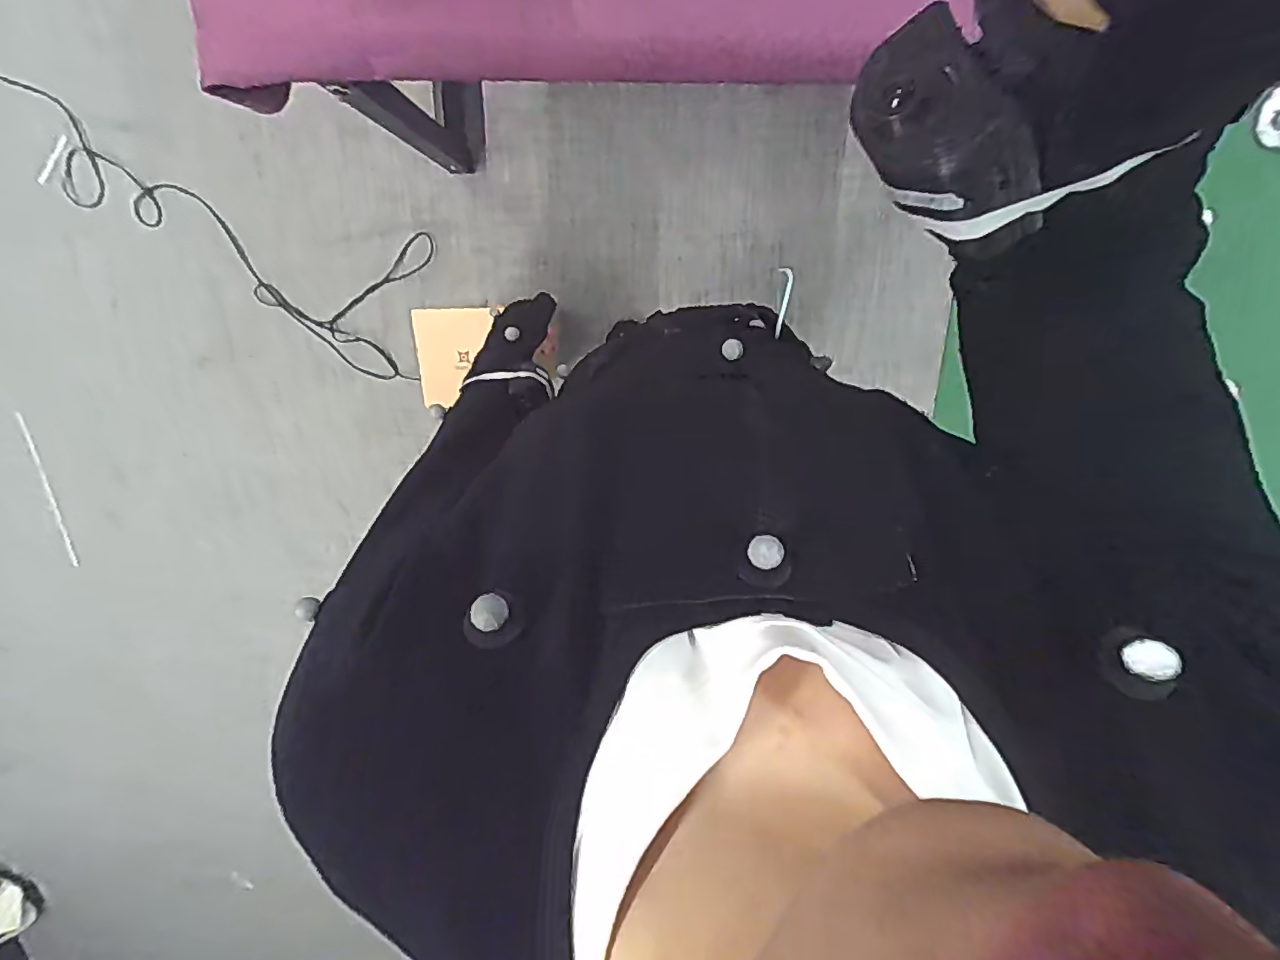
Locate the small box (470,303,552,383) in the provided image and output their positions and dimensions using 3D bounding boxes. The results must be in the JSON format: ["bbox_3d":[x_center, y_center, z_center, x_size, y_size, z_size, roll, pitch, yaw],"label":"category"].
[{"bbox_3d":[-0.312,-0.340,1.328,0.168,0.176,0.179,3,109,1],"label":"small box"}]

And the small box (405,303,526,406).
[{"bbox_3d":[-0.317,-0.240,1.016,0.168,0.176,0.179,0,110,1],"label":"small box"}]
